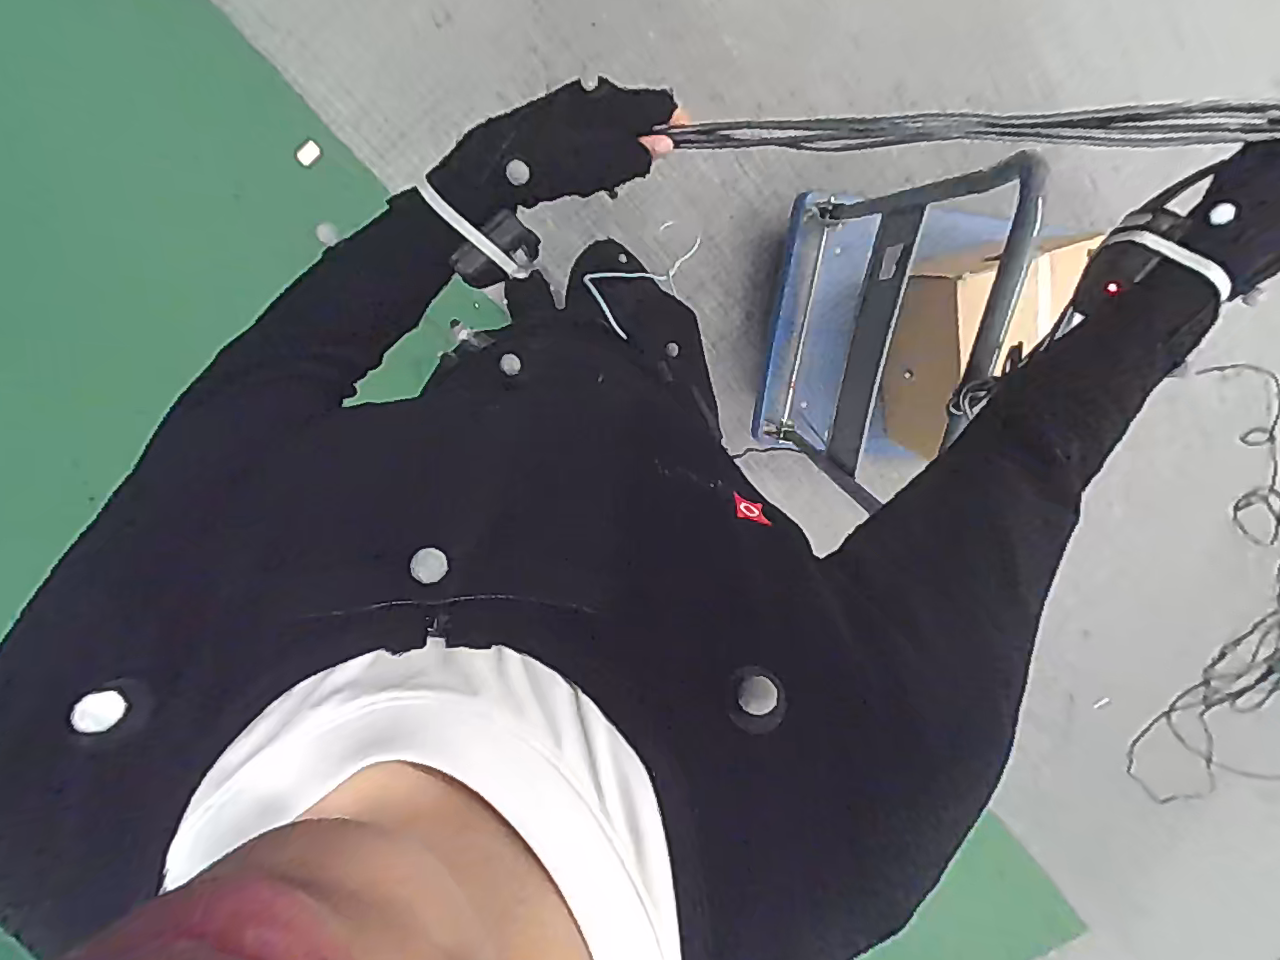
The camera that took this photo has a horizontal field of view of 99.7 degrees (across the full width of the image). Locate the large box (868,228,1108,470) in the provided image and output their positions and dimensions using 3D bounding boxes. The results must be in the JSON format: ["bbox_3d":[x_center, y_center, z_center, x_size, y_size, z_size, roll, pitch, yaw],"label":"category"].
[{"bbox_3d":[0.737,-0.288,1.184,0.320,0.320,0.408,-17,111,-1],"label":"large box"}]
